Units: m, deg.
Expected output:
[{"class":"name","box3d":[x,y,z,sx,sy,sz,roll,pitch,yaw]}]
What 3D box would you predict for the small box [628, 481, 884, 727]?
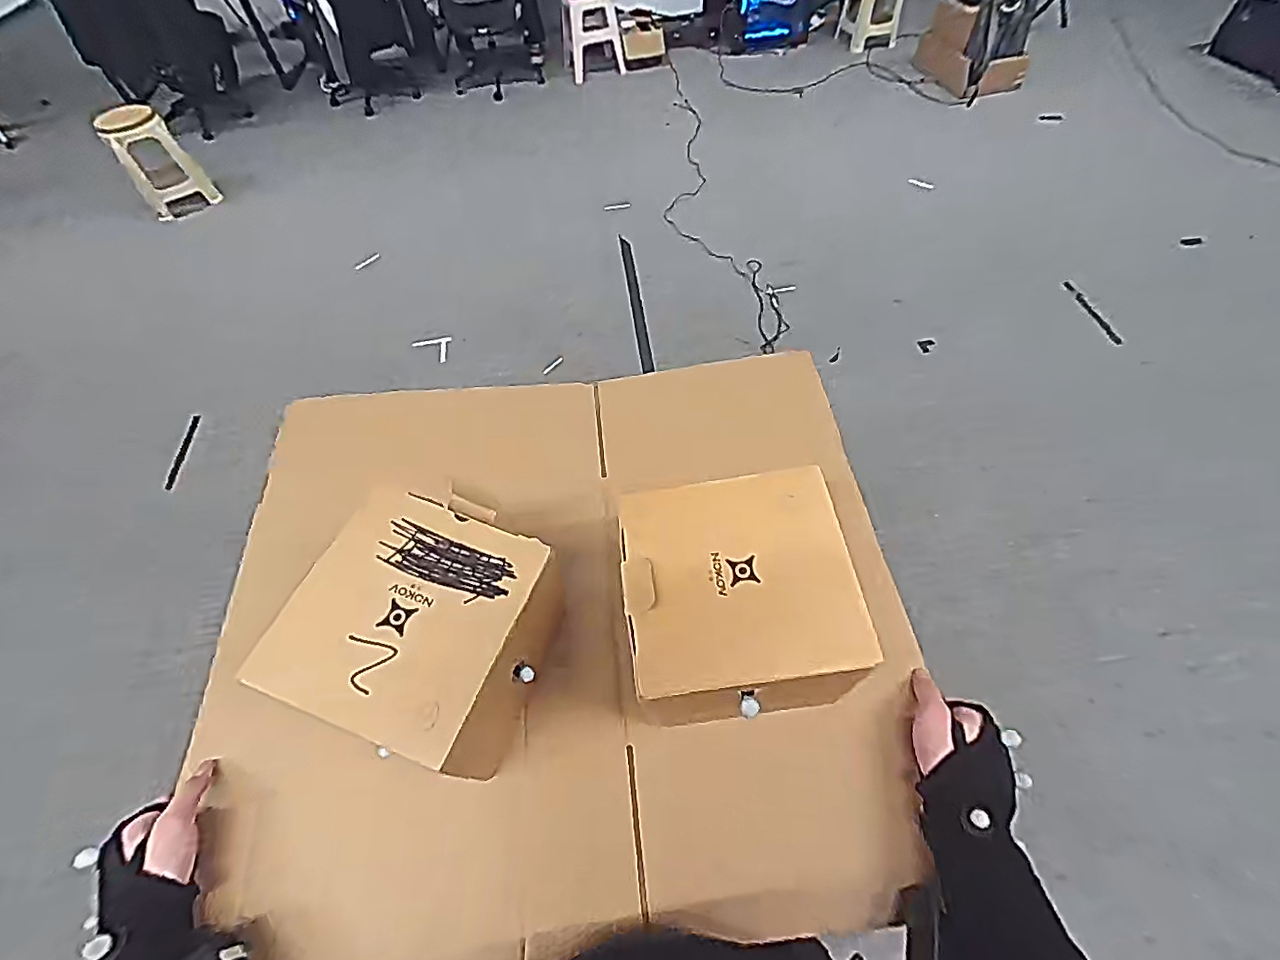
[{"class":"small box","box3d":[0.092,0.122,0.499,0.179,0.176,0.168,-10,59,3]}]
